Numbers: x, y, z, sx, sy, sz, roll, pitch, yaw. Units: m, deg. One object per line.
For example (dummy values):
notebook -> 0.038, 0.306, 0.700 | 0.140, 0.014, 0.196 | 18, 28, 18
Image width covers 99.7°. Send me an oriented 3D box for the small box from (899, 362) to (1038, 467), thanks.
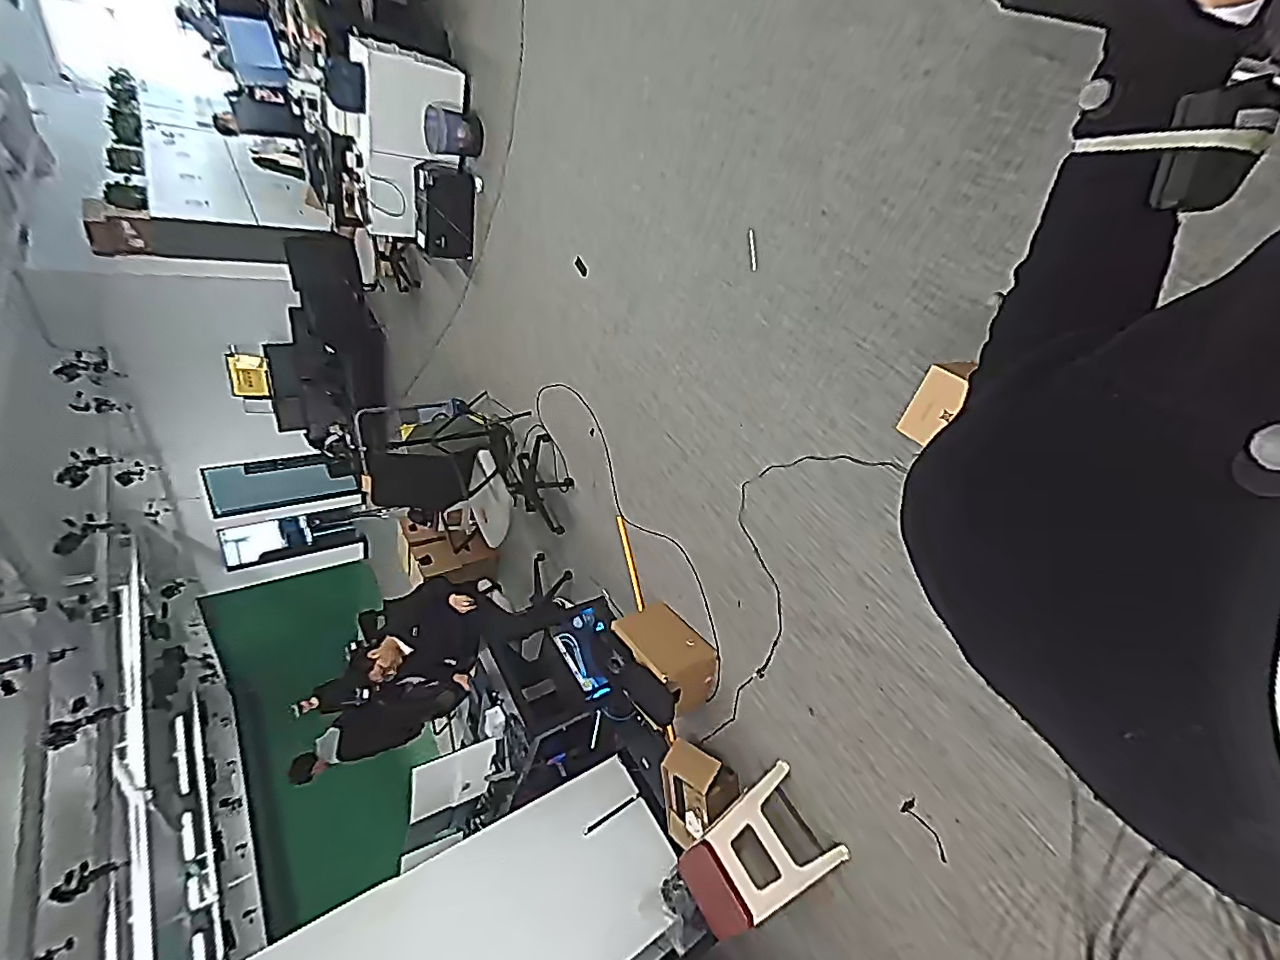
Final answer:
small box -> 0.726, -0.153, 1.195 | 0.179, 0.176, 0.168 | 47, 134, 37
